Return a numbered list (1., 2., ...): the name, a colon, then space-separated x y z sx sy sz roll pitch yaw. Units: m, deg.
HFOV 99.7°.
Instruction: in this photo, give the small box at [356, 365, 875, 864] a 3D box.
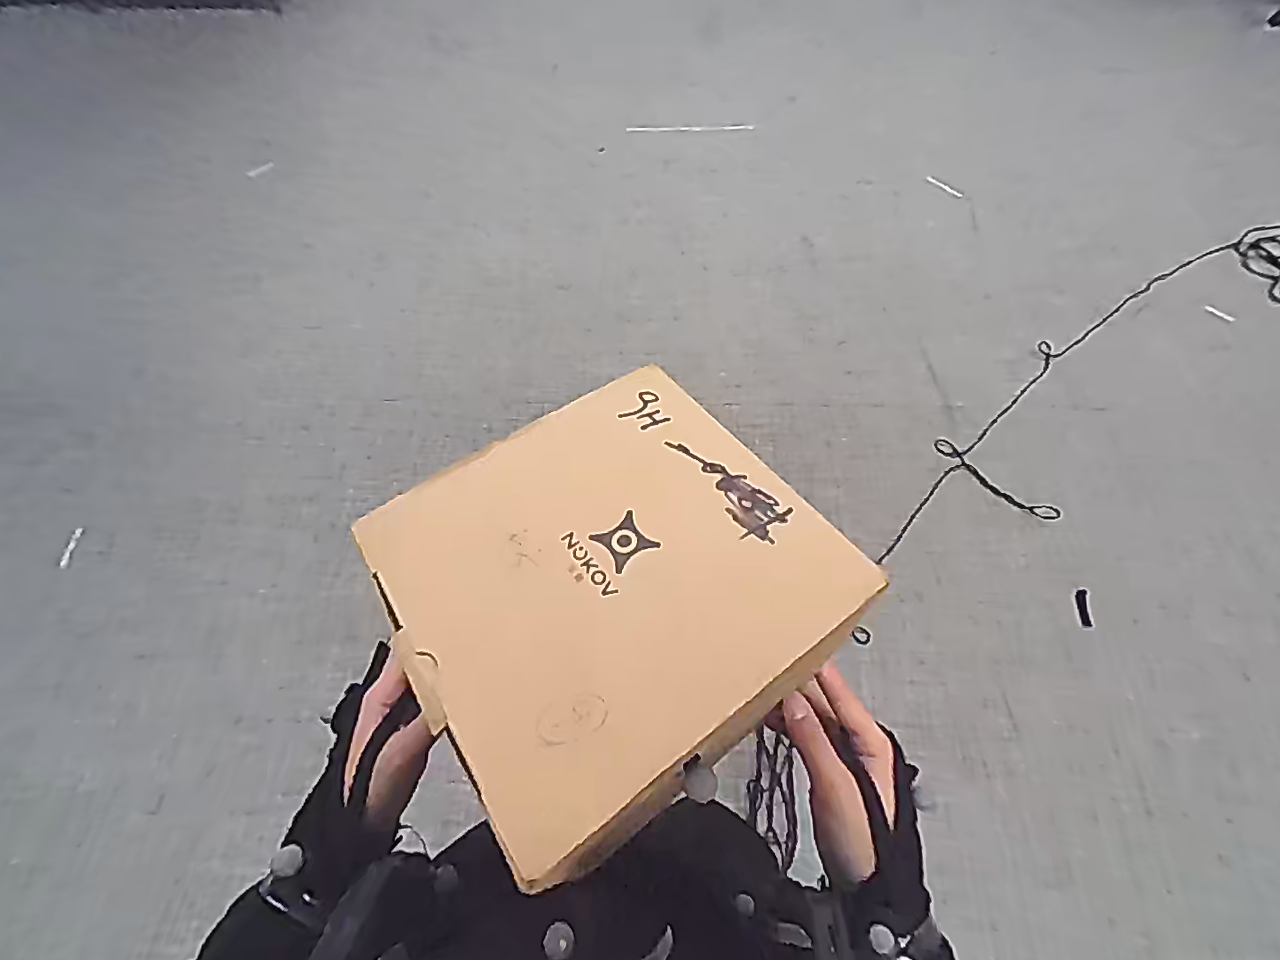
1. small box: -0.012 0.076 0.300 0.179 0.176 0.168 -32 59 -19
